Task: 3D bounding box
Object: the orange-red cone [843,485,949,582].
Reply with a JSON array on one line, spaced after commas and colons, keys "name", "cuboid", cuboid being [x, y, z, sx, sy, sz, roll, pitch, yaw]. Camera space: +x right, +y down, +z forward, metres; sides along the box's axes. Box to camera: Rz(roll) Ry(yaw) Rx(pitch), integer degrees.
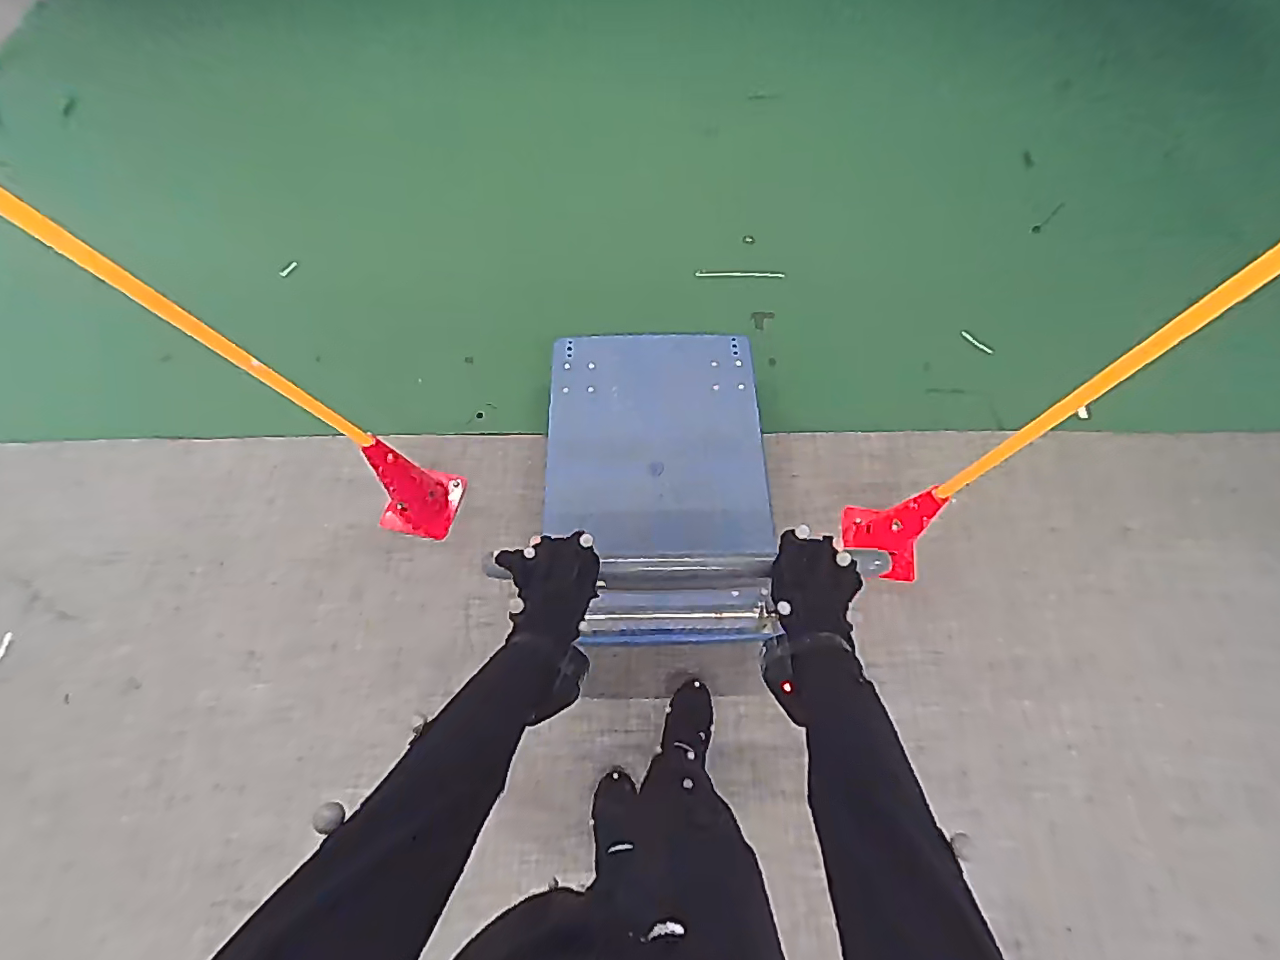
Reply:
[{"name": "orange-red cone", "cuboid": [0.665, 0.105, 1.348, 0.198, 0.360, 0.199, 10, 66, 5]}]
